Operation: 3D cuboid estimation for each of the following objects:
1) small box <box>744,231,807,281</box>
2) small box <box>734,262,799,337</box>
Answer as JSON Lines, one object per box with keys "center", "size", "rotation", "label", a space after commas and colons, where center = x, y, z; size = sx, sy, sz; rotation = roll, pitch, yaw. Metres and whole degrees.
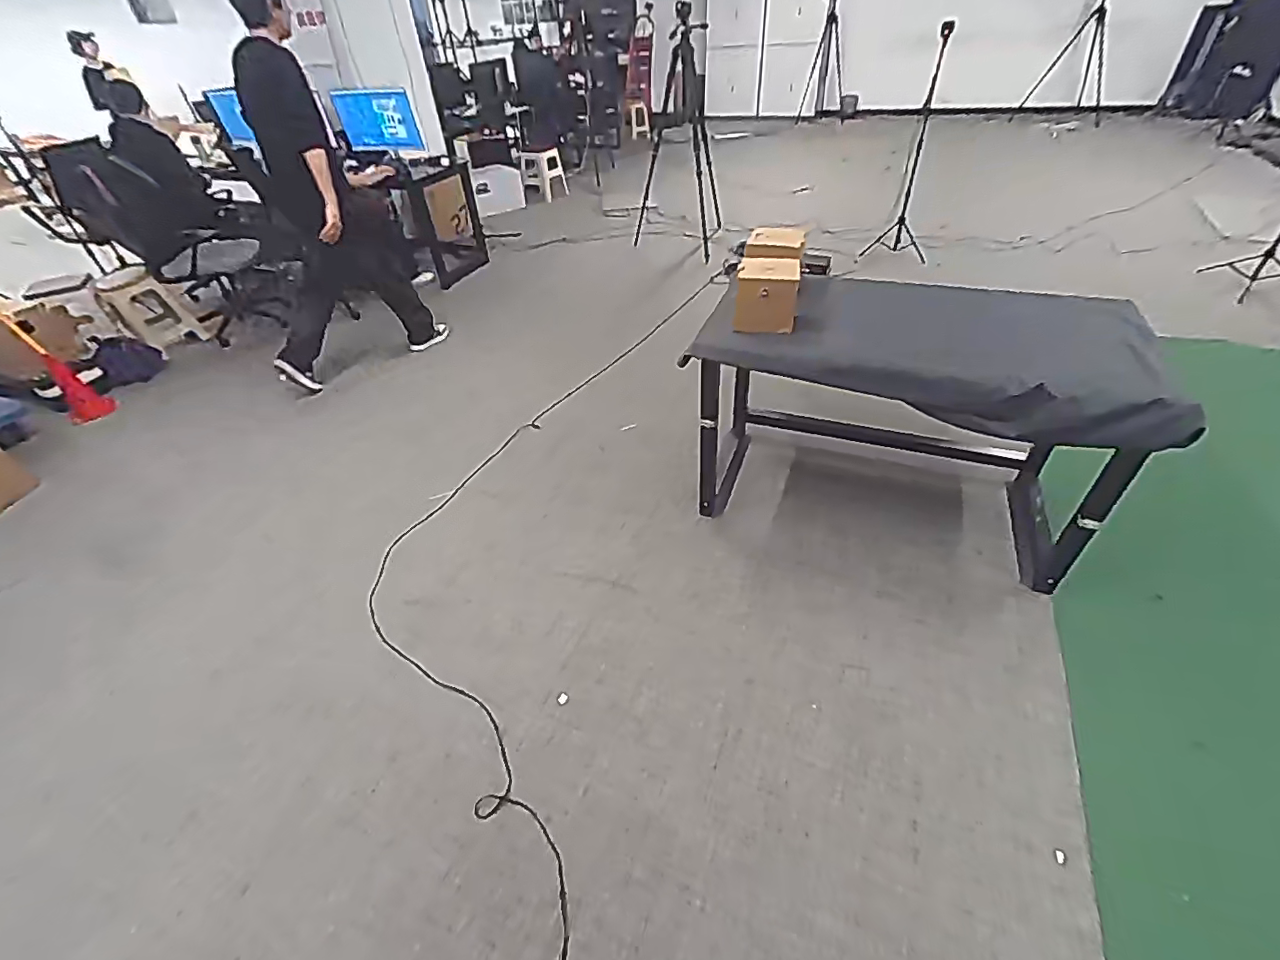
{"center": [0.457, -0.730, 1.845], "size": [0.179, 0.176, 0.168], "rotation": [13, 44, 18], "label": "small box"}
{"center": [0.384, -0.551, 1.647], "size": [0.179, 0.176, 0.168], "rotation": [7, 42, 10], "label": "small box"}
